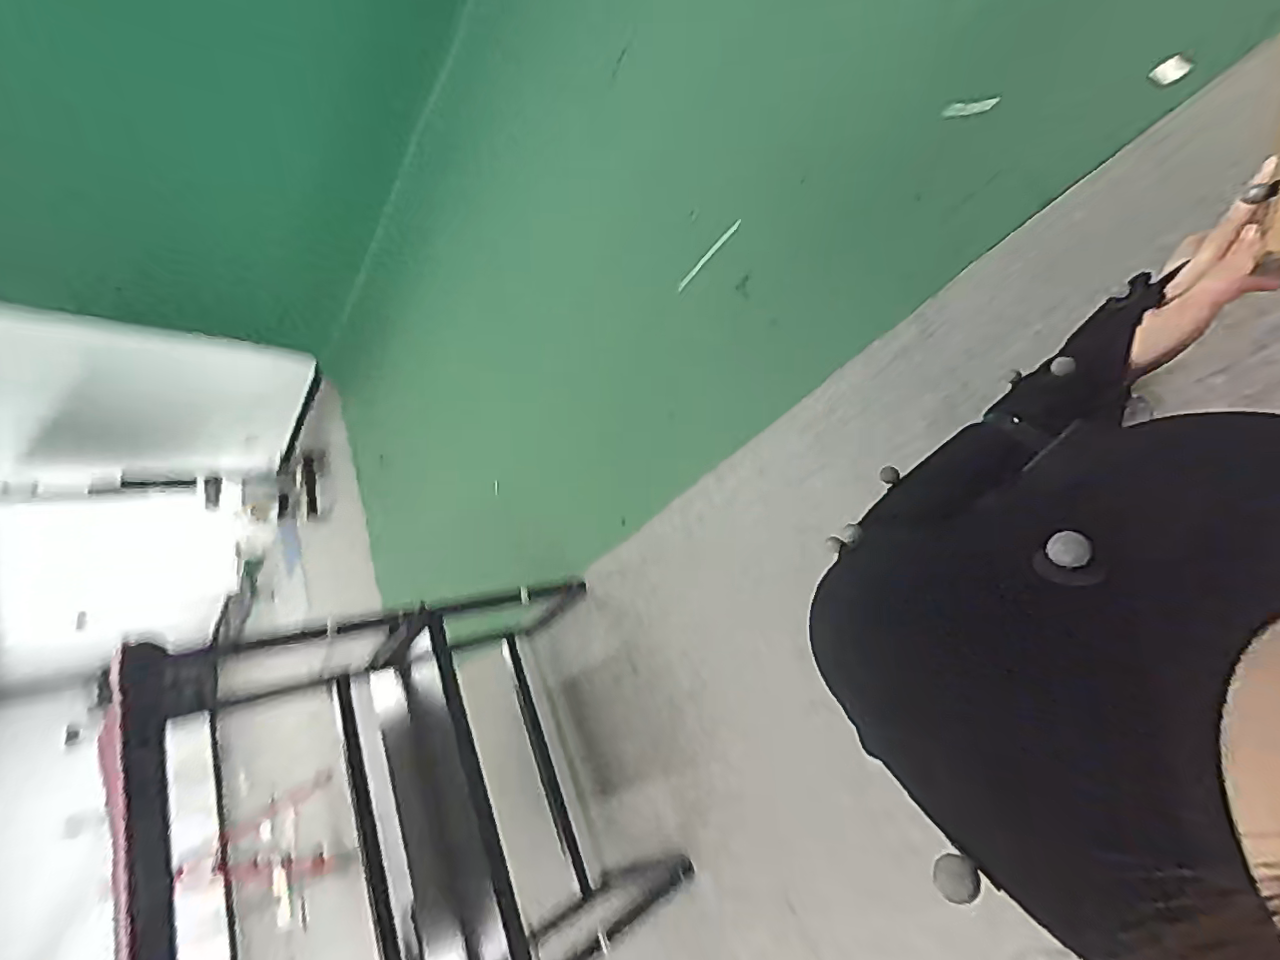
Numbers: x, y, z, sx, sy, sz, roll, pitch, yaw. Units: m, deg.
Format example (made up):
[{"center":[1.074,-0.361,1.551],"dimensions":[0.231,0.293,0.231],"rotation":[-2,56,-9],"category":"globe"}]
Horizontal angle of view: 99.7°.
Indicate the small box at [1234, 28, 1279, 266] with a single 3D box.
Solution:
[{"center":[0.470,-0.225,0.298],"dimensions":[0.168,0.176,0.179],"rotation":[11,110,41],"category":"small box"}]
